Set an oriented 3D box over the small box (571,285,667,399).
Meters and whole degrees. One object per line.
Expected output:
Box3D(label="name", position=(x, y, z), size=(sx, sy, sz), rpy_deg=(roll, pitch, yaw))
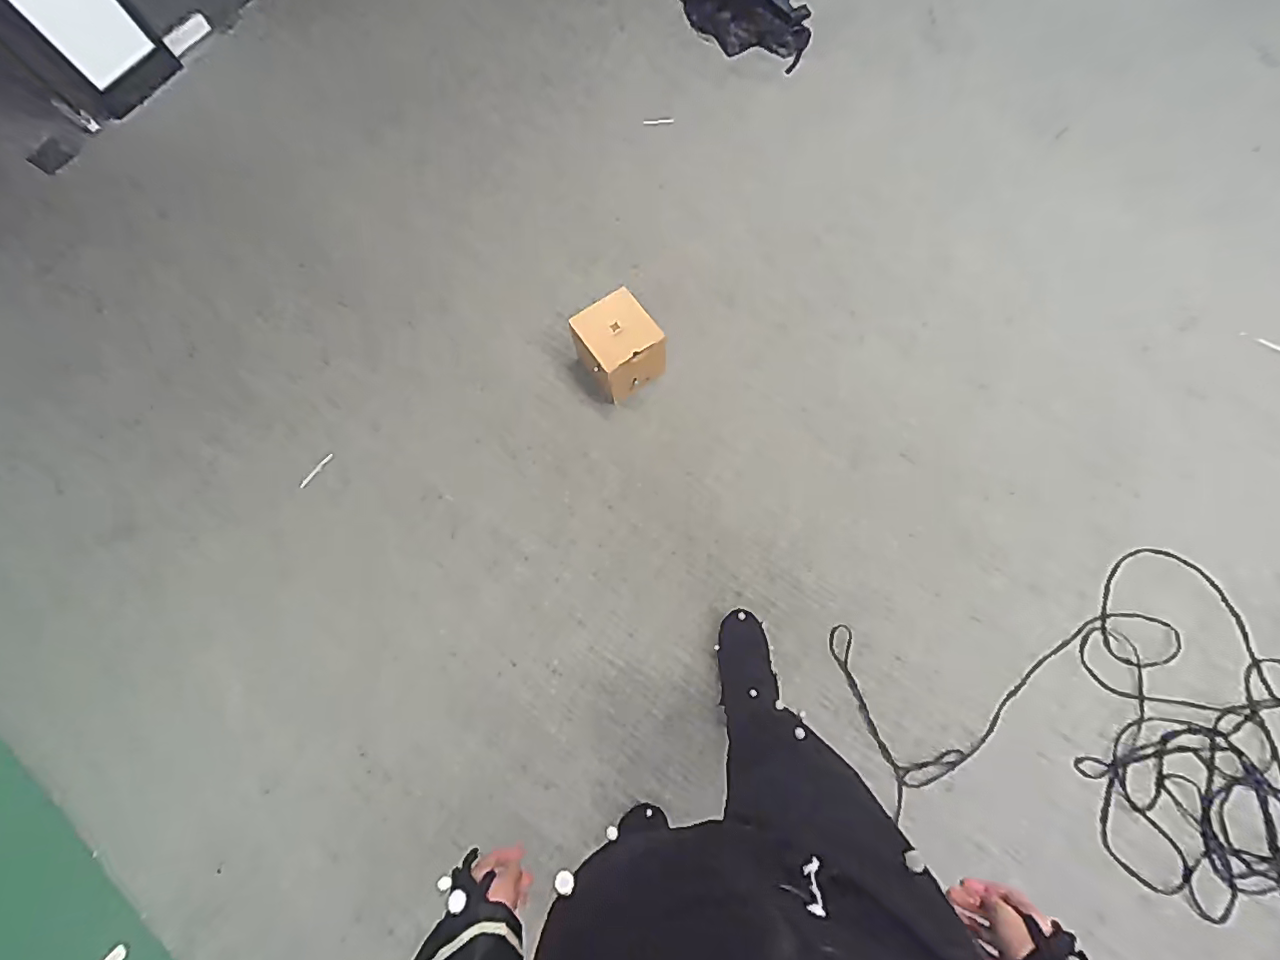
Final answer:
Box3D(label="small box", position=(-0.049, -0.334, 1.332), size=(0.168, 0.176, 0.179), rpy_deg=(-34, 75, -8))
